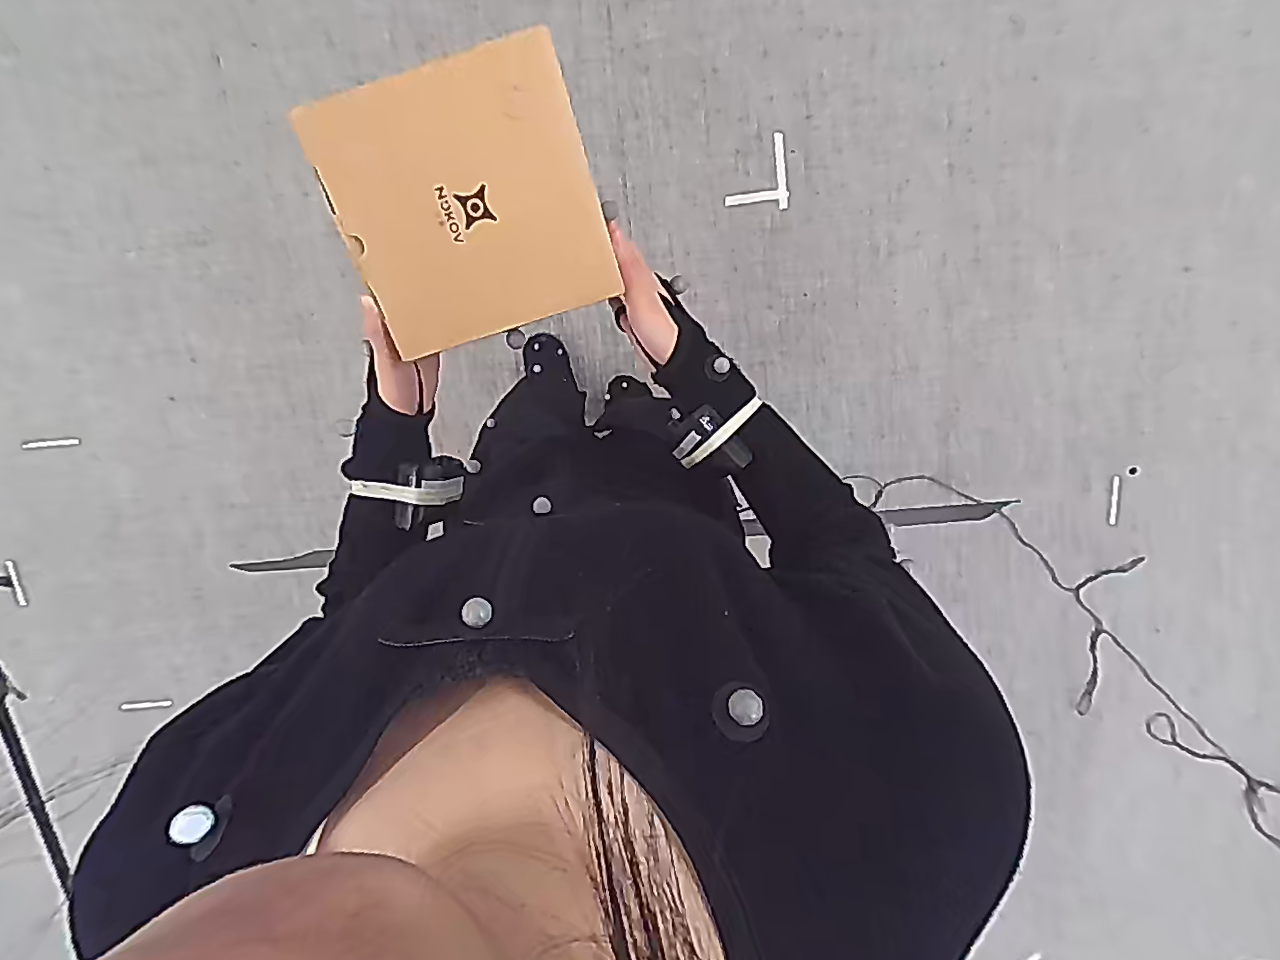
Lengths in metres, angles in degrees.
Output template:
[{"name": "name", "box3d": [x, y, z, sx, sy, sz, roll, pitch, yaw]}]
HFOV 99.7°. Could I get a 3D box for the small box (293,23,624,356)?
[{"name": "small box", "box3d": [-0.121, -0.217, 0.439, 0.179, 0.176, 0.168, -17, 112, 4]}]
